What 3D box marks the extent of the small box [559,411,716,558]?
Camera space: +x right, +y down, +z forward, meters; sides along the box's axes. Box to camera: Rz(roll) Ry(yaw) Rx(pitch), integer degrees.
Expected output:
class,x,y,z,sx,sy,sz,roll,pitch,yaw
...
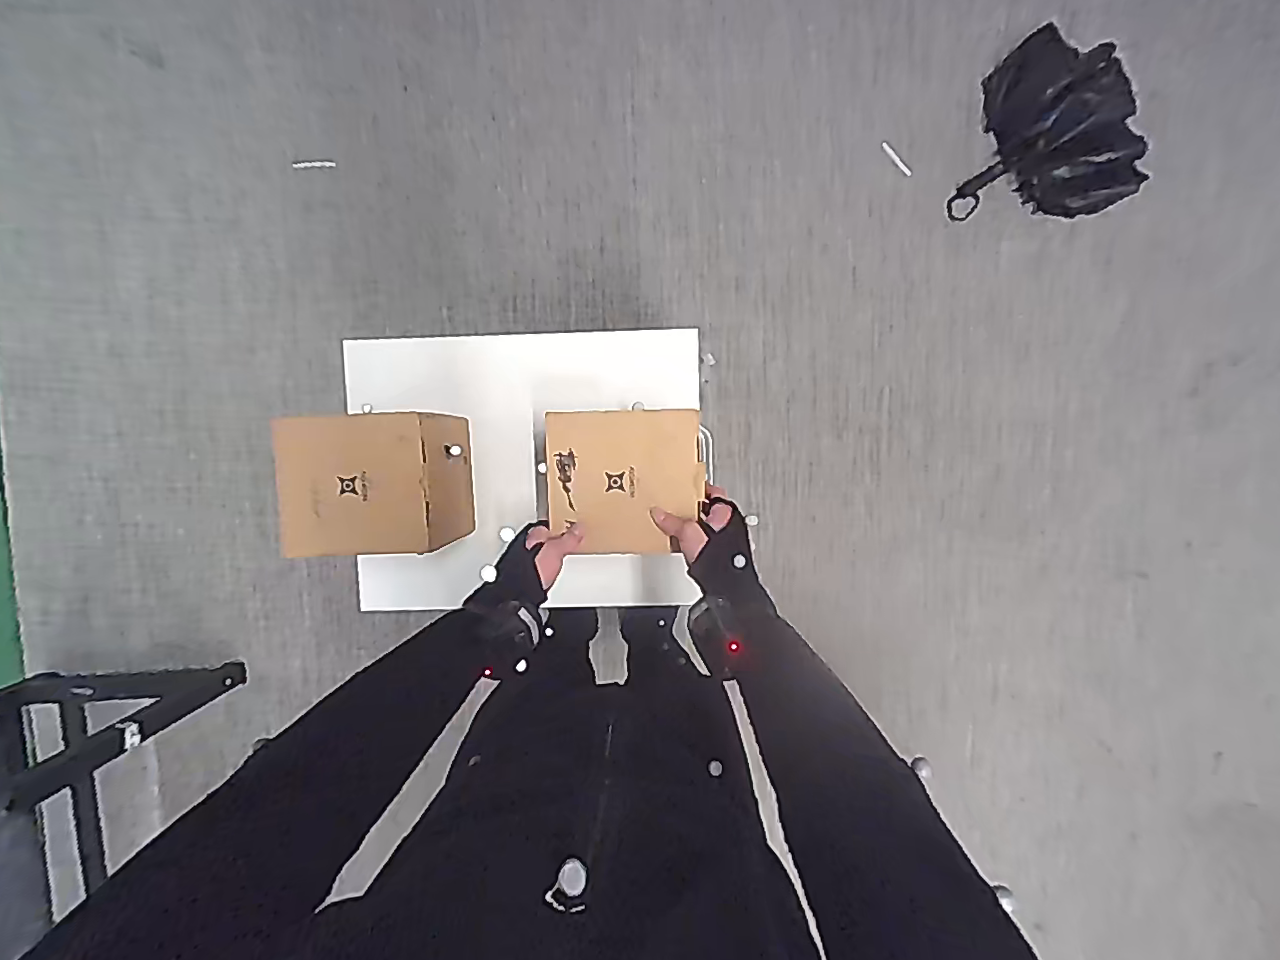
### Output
class,x,y,z,sx,sy,sz,roll,pitch,yaw
small box,-0.005,0.001,0.678,0.179,0.176,0.168,-1,92,0

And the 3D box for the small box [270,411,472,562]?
class,x,y,z,sx,sy,sz,roll,pitch,yaw
small box,-0.317,0.004,0.675,0.179,0.176,0.168,-3,91,-1
